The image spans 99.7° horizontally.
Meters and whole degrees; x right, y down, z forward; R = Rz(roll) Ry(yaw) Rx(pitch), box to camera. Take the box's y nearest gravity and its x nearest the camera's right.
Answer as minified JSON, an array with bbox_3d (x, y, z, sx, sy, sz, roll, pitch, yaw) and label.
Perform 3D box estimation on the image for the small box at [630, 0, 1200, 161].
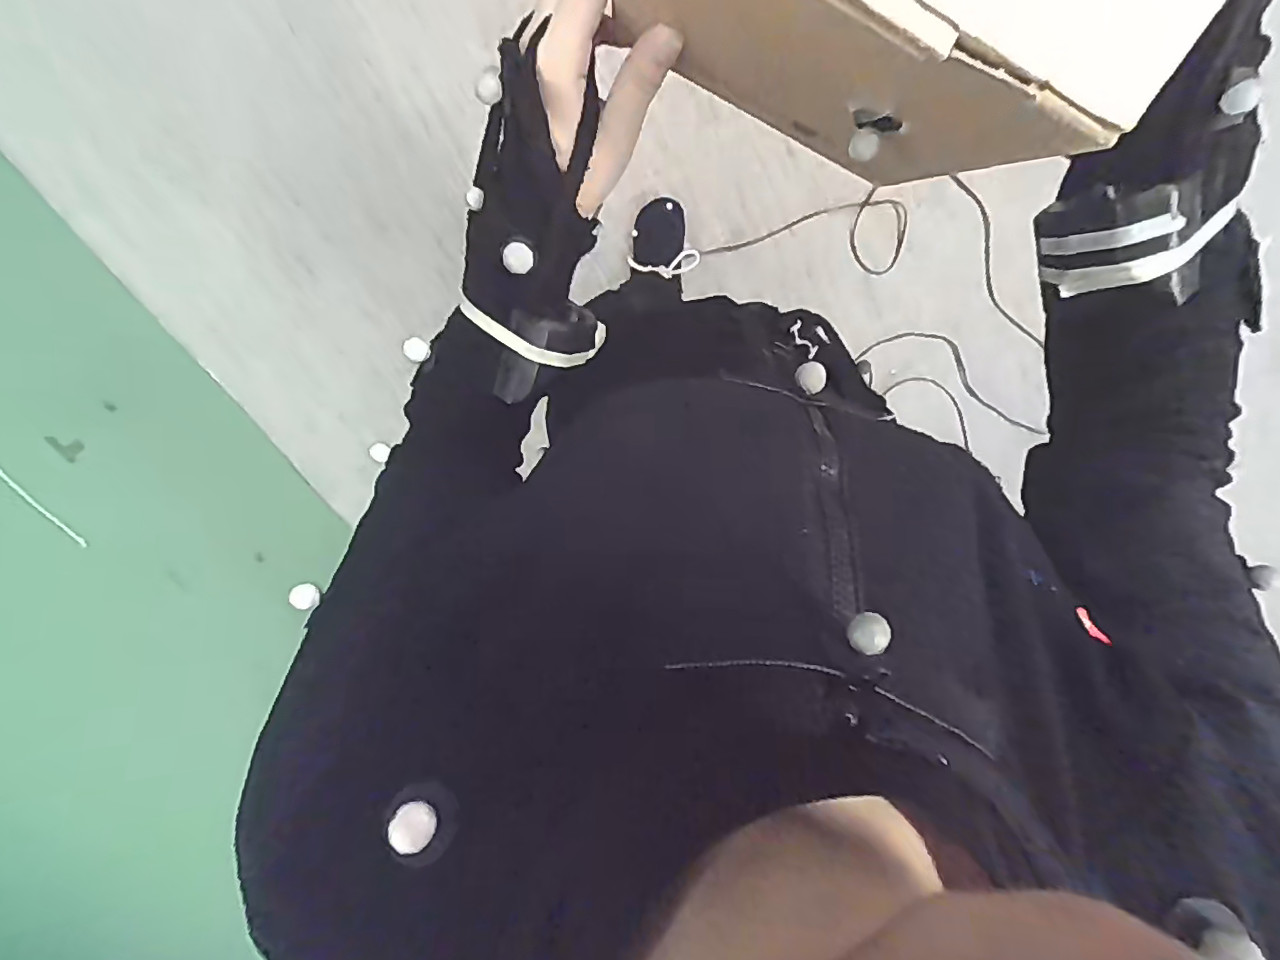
[{"bbox_3d":[0.094,-0.235,0.179,0.168,0.176,0.179,22,112,-12],"label":"small box"}]
